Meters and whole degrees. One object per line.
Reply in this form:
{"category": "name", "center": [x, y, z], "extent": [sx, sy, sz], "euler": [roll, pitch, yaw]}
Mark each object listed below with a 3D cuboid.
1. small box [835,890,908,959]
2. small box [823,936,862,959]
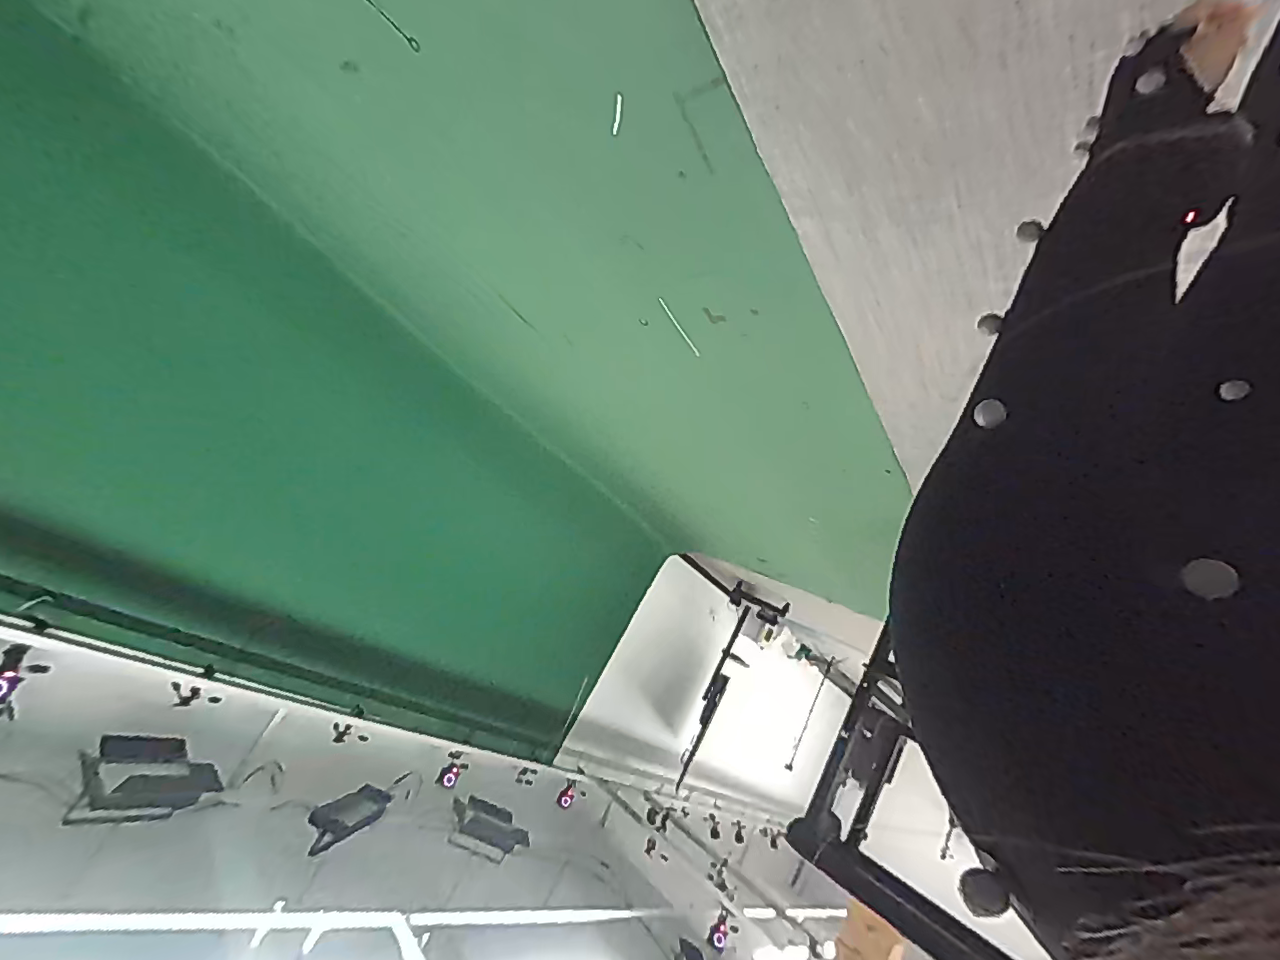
{"category": "small box", "center": [0.815, 1.578, 1.897], "extent": [0.168, 0.176, 0.179], "euler": [15, 158, 46]}
{"category": "small box", "center": [0.728, 1.712, 1.862], "extent": [0.168, 0.176, 0.179], "euler": [15, 158, 43]}
